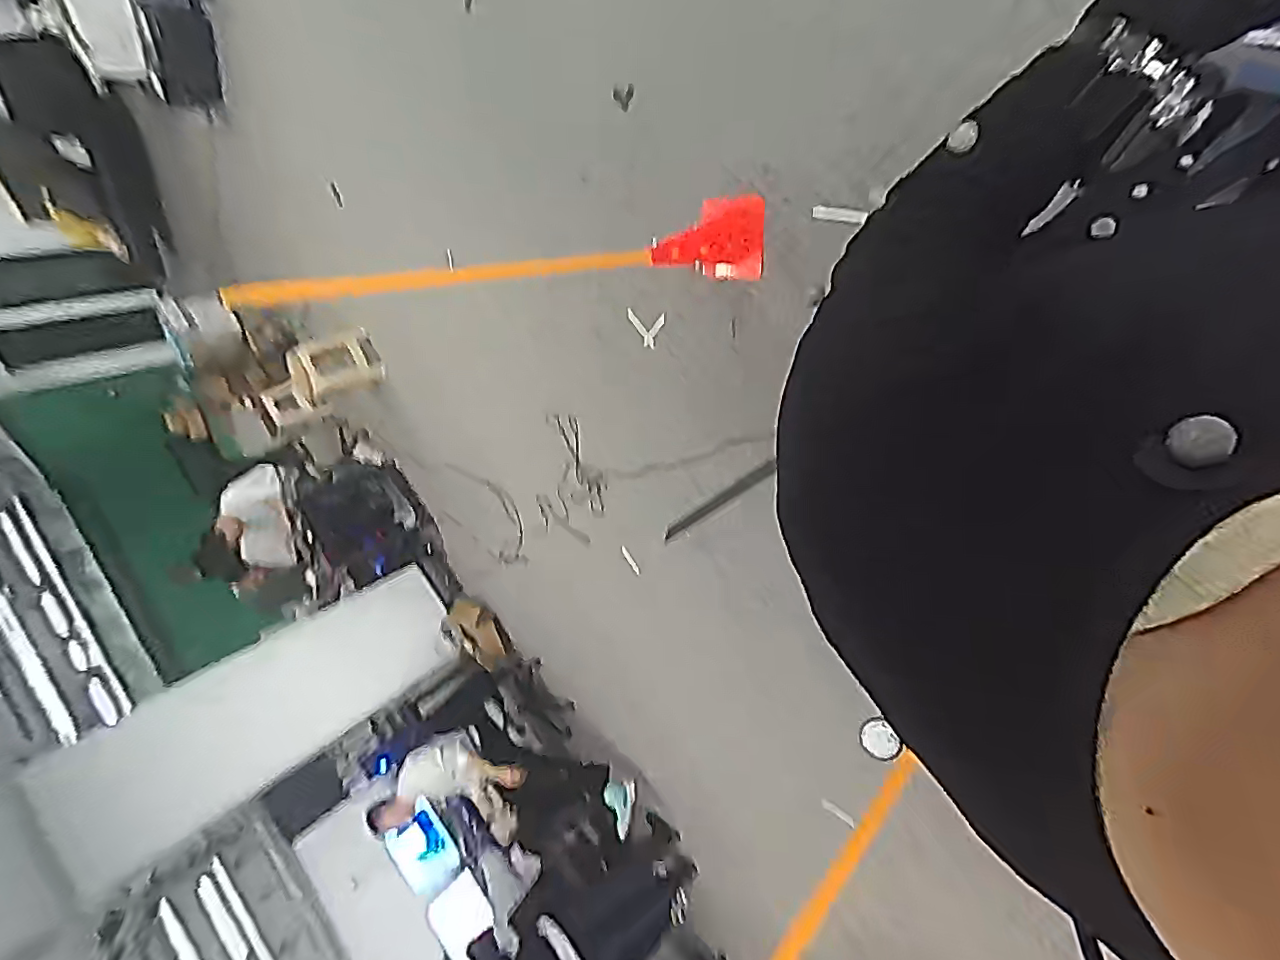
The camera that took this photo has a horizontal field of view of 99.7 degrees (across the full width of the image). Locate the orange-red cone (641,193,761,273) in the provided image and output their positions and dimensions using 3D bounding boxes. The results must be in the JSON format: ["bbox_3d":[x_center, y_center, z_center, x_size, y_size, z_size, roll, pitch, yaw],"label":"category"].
[{"bbox_3d":[0.133,-0.603,1.375,0.199,0.360,0.198,20,128,37],"label":"orange-red cone"}]
